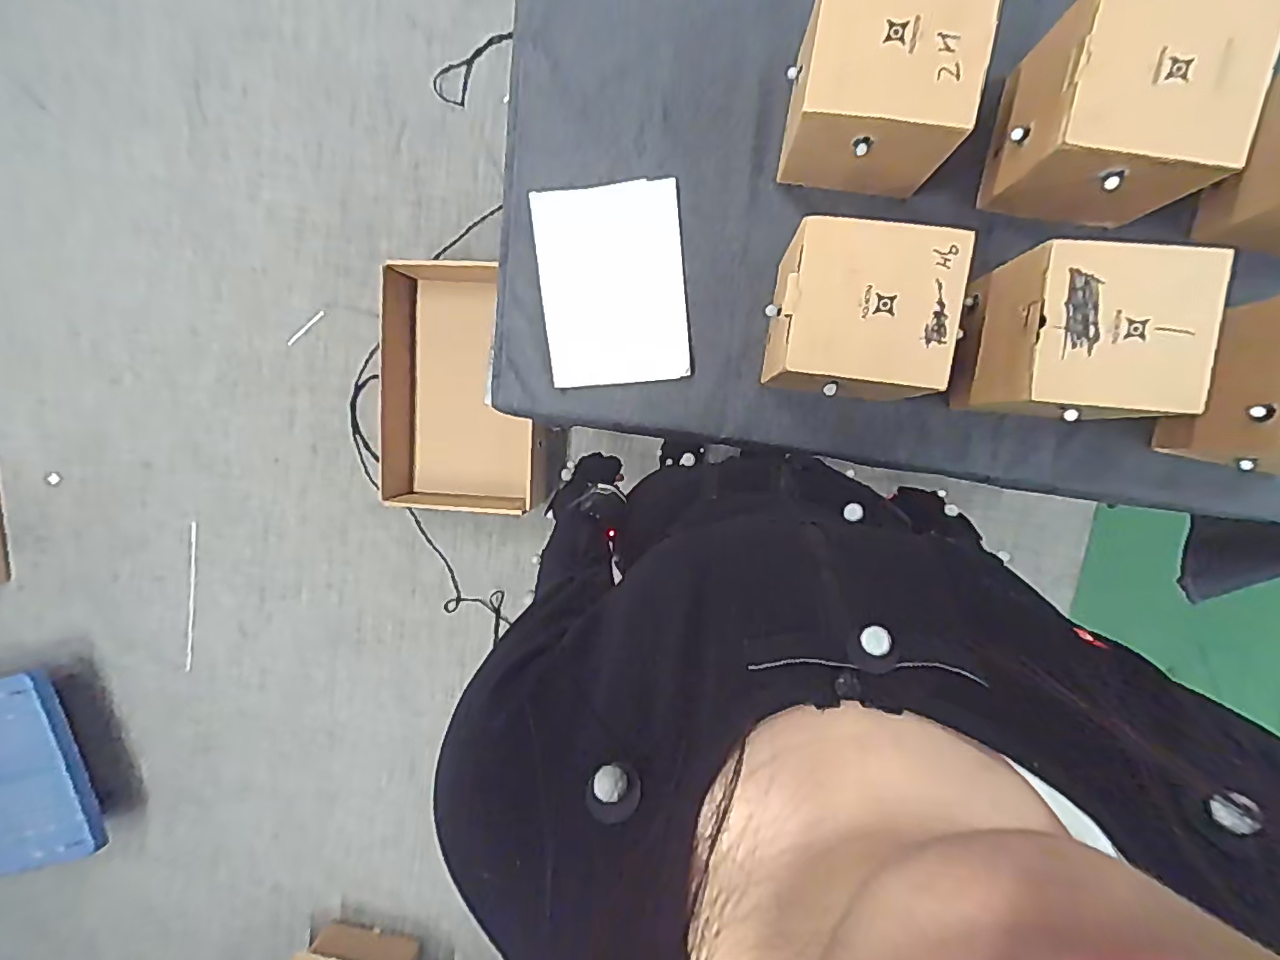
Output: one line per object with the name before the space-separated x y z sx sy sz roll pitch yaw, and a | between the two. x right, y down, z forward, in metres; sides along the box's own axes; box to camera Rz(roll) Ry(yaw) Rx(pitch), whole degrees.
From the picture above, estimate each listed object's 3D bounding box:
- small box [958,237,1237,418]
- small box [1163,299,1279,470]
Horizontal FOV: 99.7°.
small box | 0.499 -0.162 0.621 0.179 0.176 0.168 5 95 4
small box | 0.754 -0.105 0.606 0.168 0.176 0.179 11 96 4
